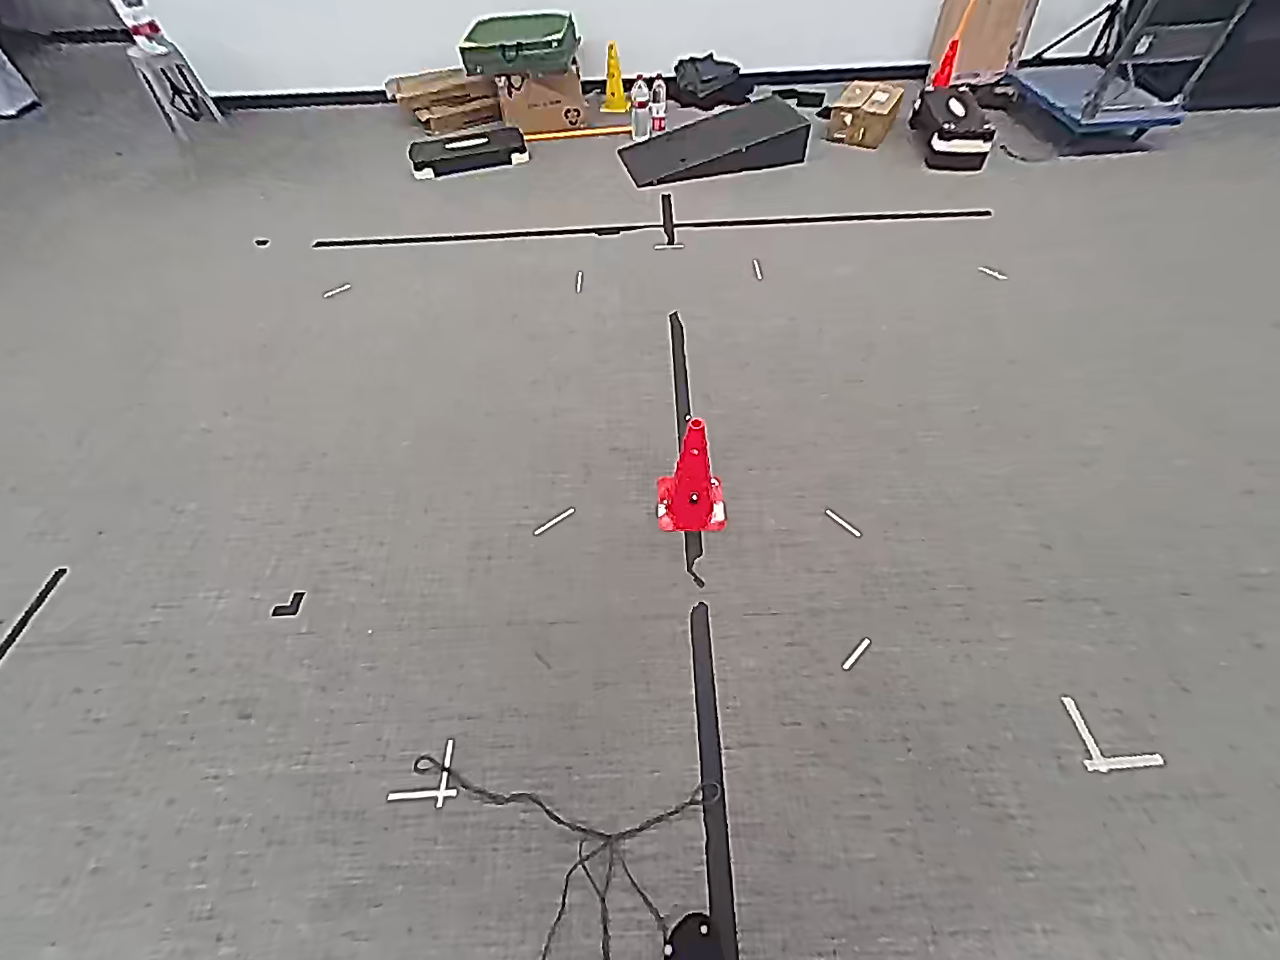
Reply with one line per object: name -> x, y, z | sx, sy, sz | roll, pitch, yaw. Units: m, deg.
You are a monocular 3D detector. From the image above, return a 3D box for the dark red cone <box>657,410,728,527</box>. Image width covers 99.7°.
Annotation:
dark red cone -> 0.147, -0.045, 1.495 | 0.201, 0.394, 0.202 | -3, 53, 1
